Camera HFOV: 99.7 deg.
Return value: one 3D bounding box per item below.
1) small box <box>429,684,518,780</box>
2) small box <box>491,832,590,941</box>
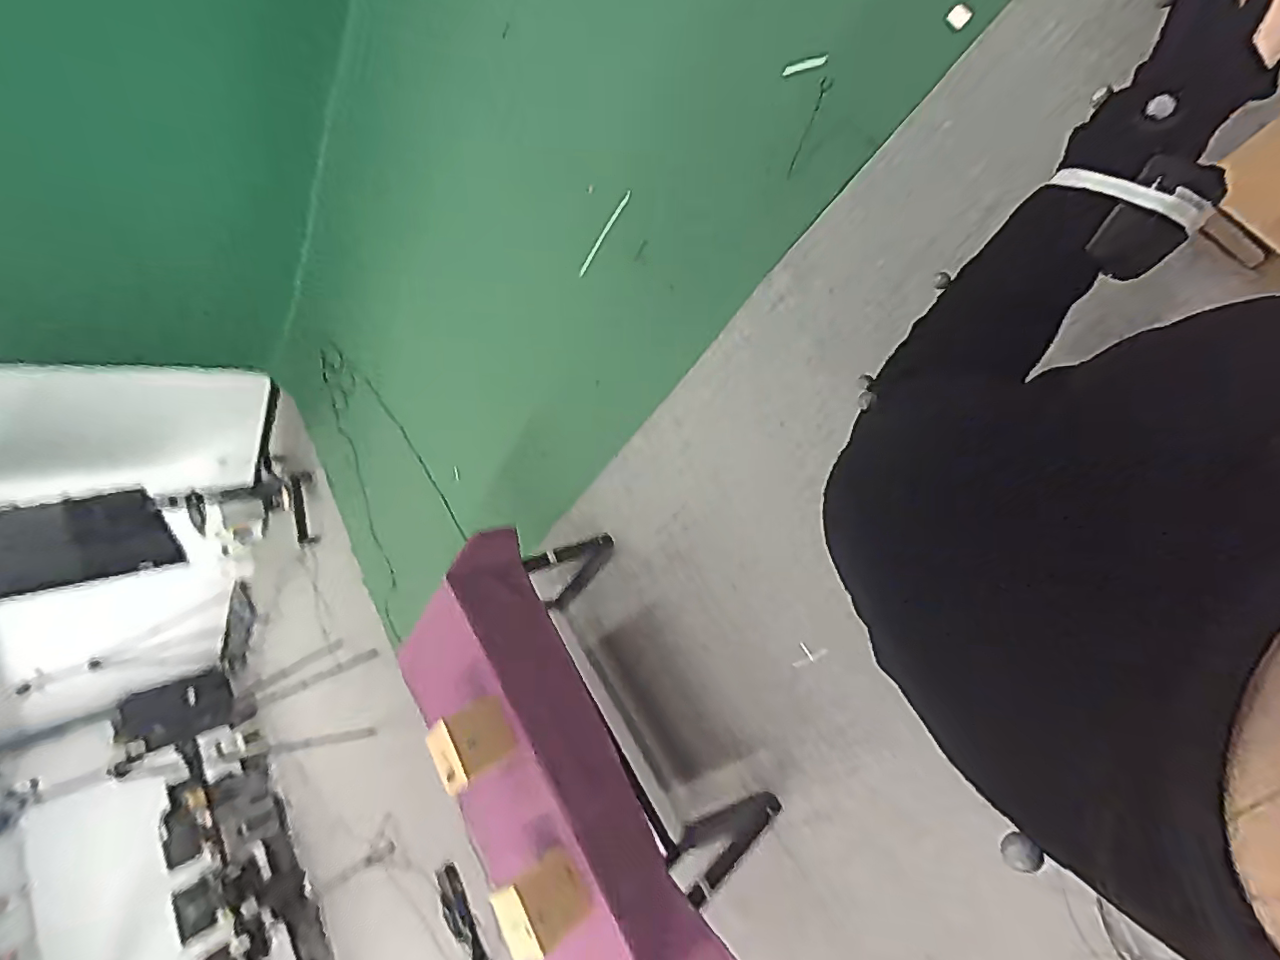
[{"bbox_3d":[-0.485,0.732,1.581,0.168,0.176,0.179,-47,66,37],"label":"small box"},{"bbox_3d":[-0.264,1.081,1.443,0.179,0.176,0.168,-47,67,38],"label":"small box"}]
